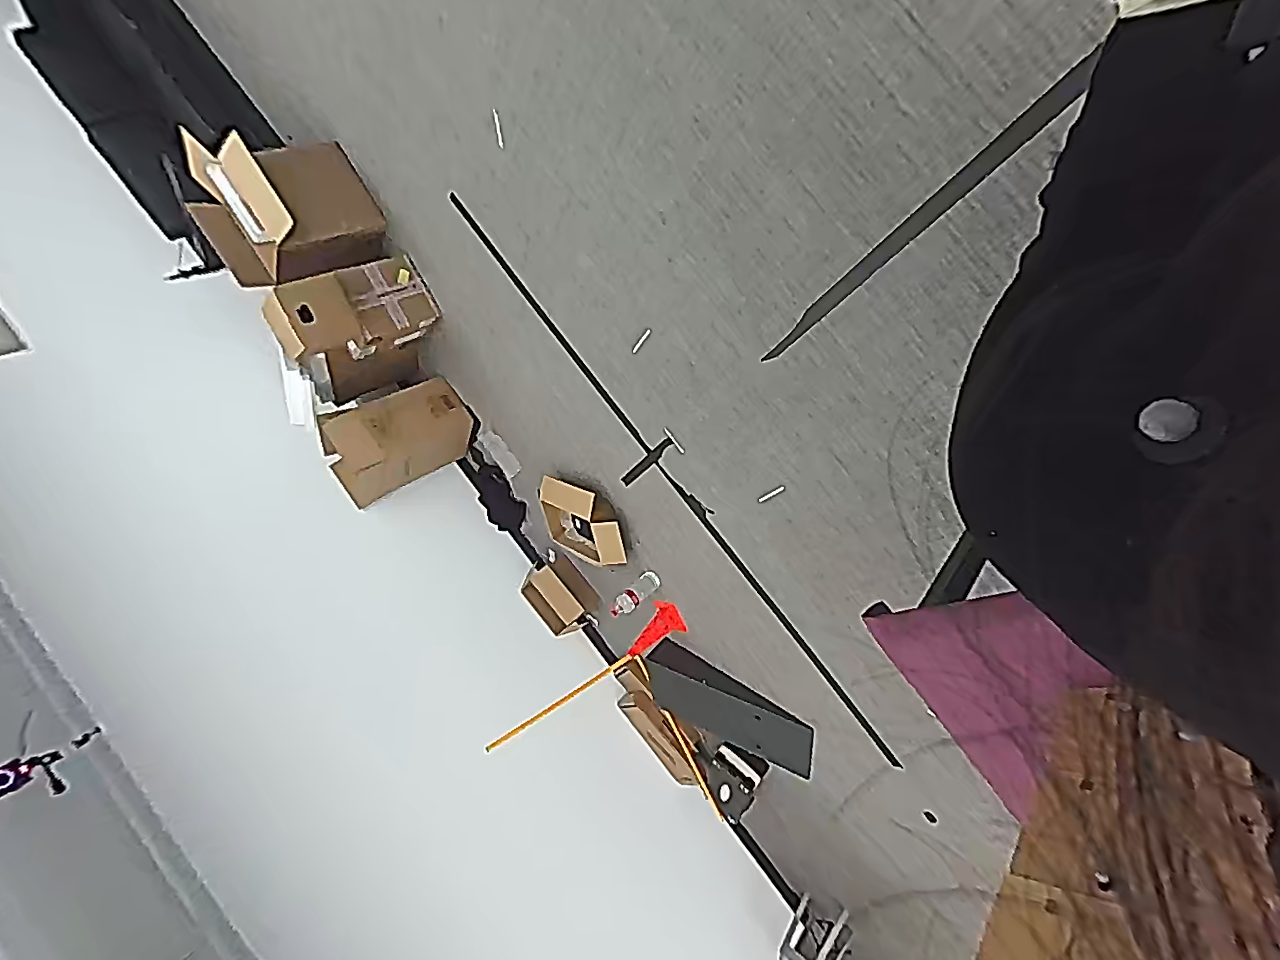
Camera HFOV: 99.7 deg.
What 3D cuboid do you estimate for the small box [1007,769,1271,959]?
[{"bbox_3d":[0.580,0.480,0.630,0.179,0.176,0.168,55,146,-2],"label":"small box"}]

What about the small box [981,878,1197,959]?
[{"bbox_3d":[0.465,0.553,0.539,0.179,0.176,0.168,55,145,-1],"label":"small box"}]

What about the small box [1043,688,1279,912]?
[{"bbox_3d":[0.694,0.405,0.720,0.179,0.176,0.168,55,146,1],"label":"small box"}]
